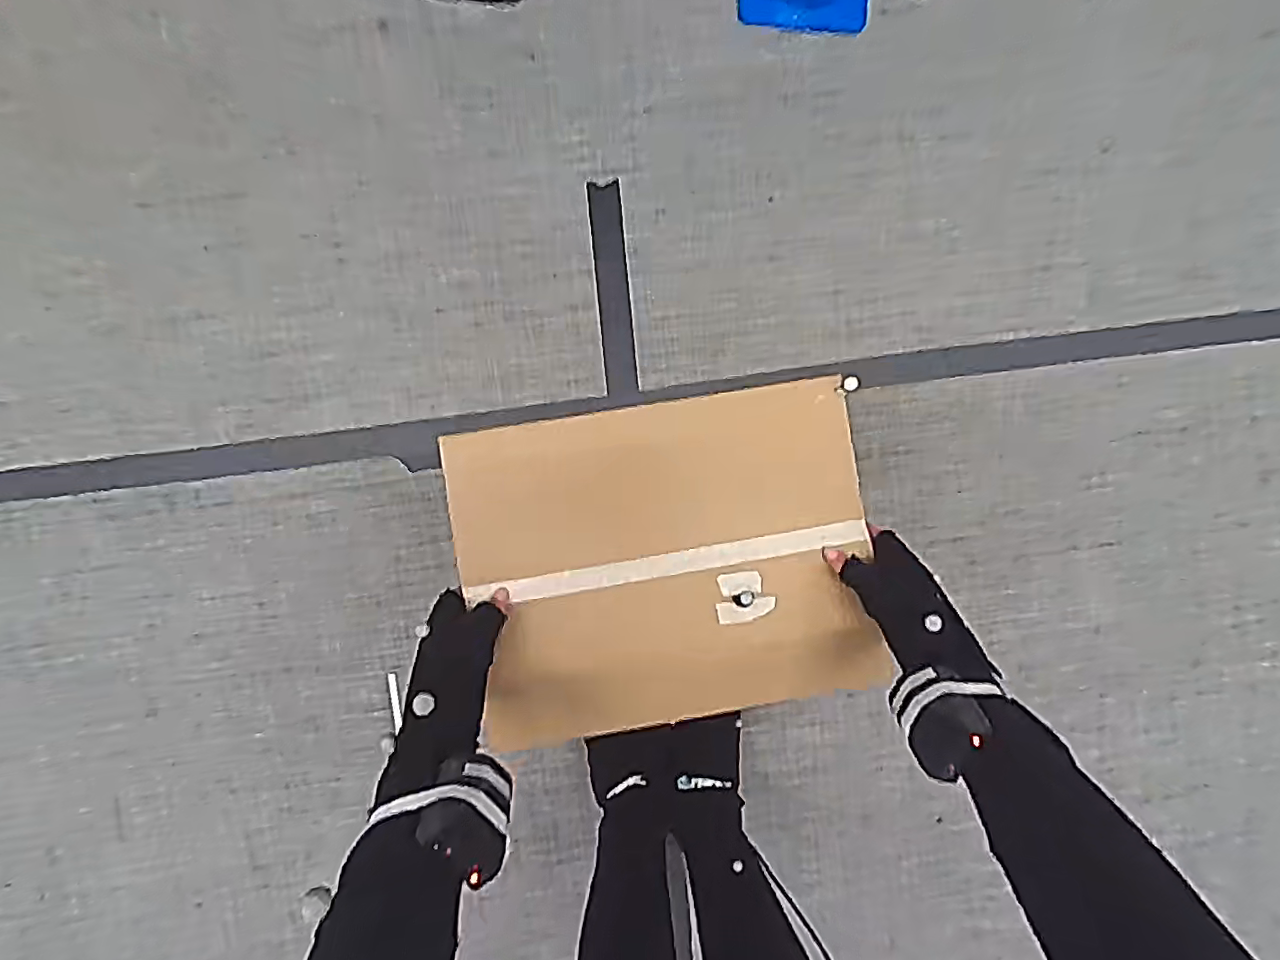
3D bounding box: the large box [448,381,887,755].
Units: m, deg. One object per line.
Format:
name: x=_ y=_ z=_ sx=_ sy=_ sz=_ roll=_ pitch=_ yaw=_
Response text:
large box: x=0.022 y=0.089 z=0.689 sx=0.408 sy=0.320 sz=0.320 roll=-10 pitch=90 yaw=-3
